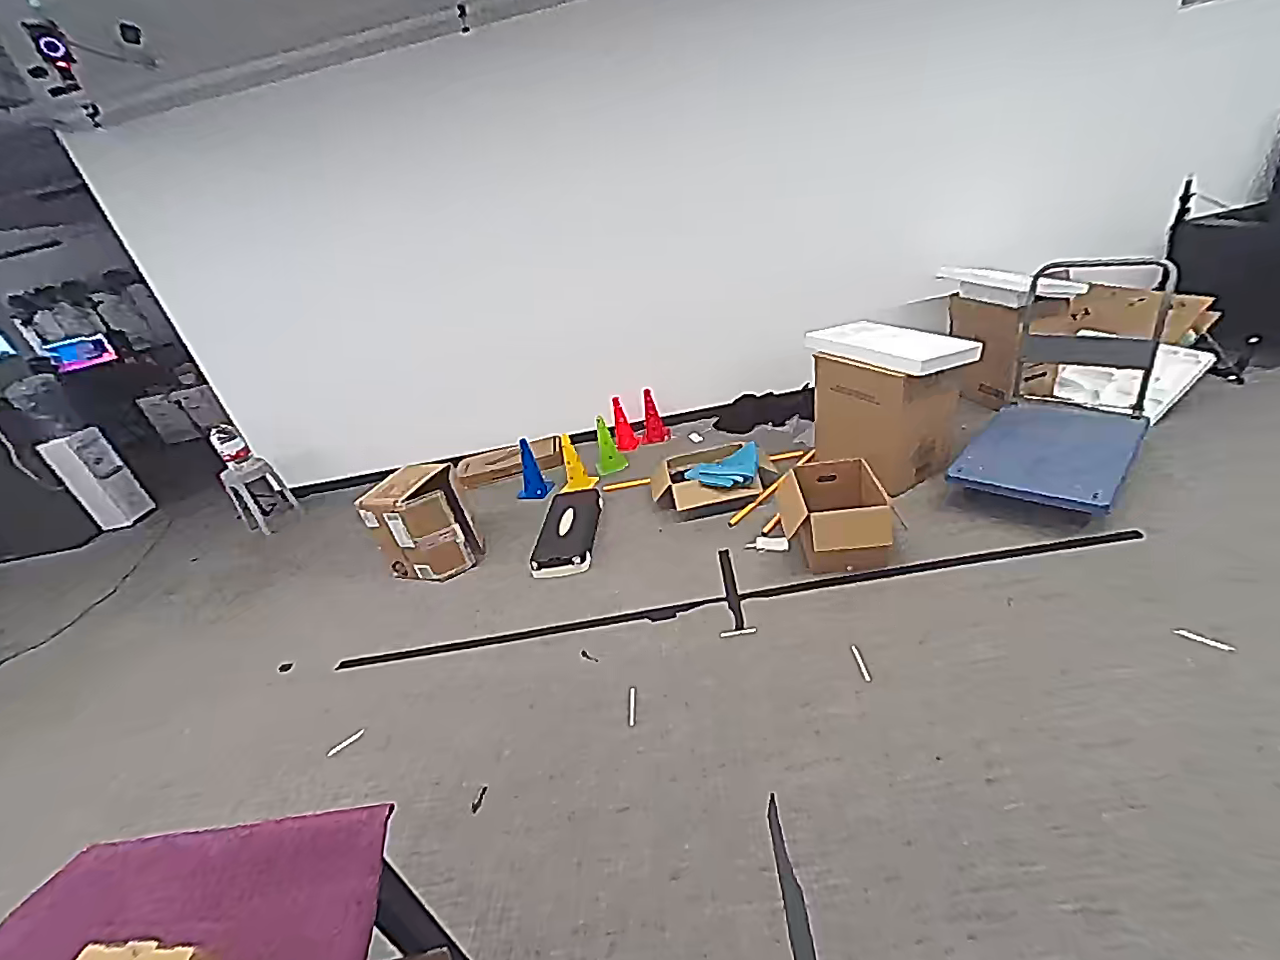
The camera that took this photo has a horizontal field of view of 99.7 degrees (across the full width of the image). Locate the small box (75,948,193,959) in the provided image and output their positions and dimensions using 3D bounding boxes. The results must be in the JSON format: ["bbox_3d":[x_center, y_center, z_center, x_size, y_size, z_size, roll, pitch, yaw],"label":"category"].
[{"bbox_3d":[-0.595,0.676,0.613,0.168,0.176,0.179,-8,28,10],"label":"small box"}]
